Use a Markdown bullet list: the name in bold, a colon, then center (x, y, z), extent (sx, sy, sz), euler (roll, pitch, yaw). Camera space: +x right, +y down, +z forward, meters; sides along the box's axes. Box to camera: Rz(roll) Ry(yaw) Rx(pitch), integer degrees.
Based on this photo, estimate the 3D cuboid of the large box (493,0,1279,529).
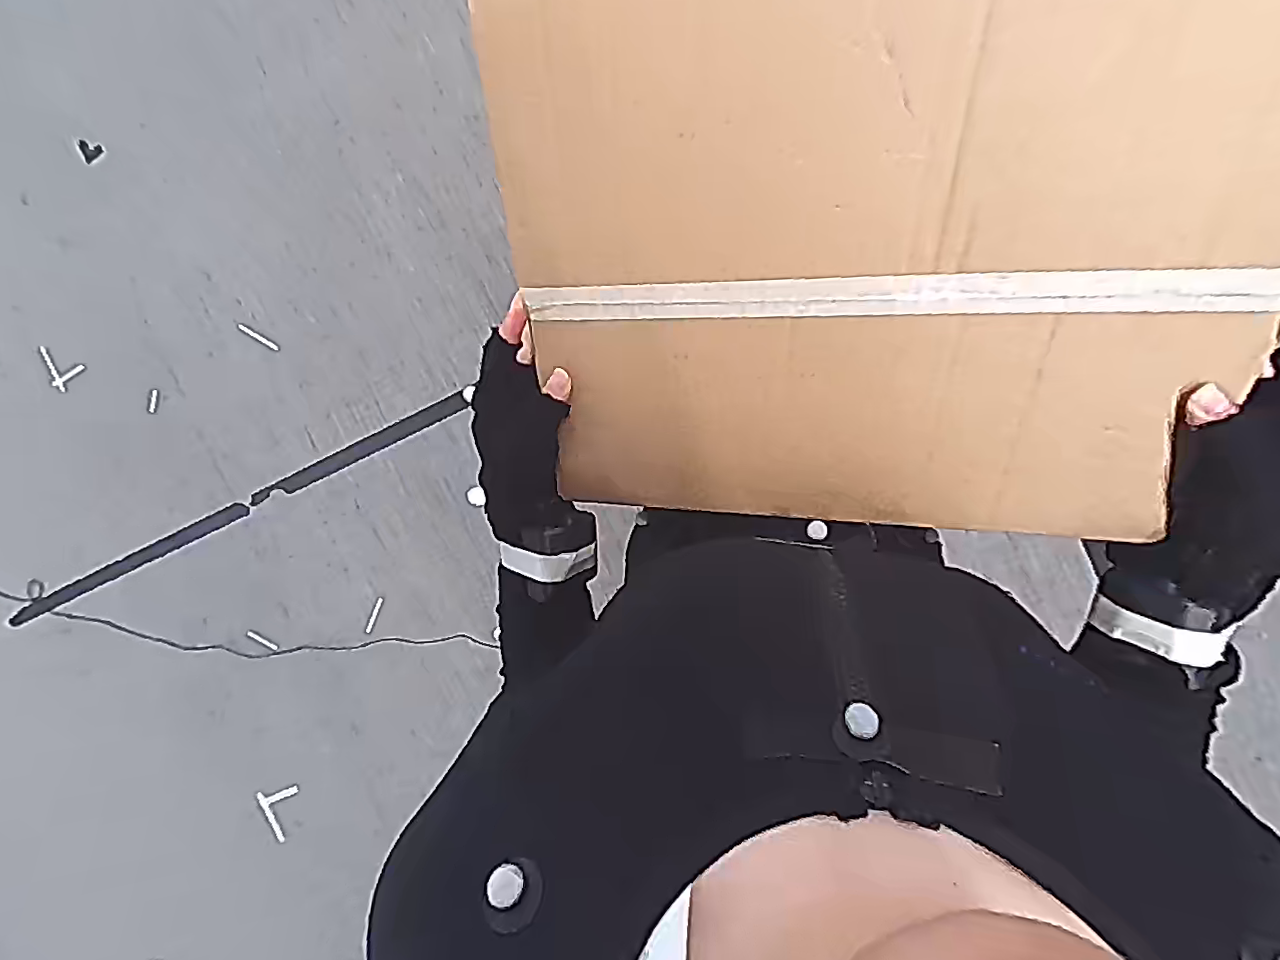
- **large box**: center (0.156, -0.185, 0.438), extent (0.408, 0.320, 0.320), euler (4, 124, 13)
